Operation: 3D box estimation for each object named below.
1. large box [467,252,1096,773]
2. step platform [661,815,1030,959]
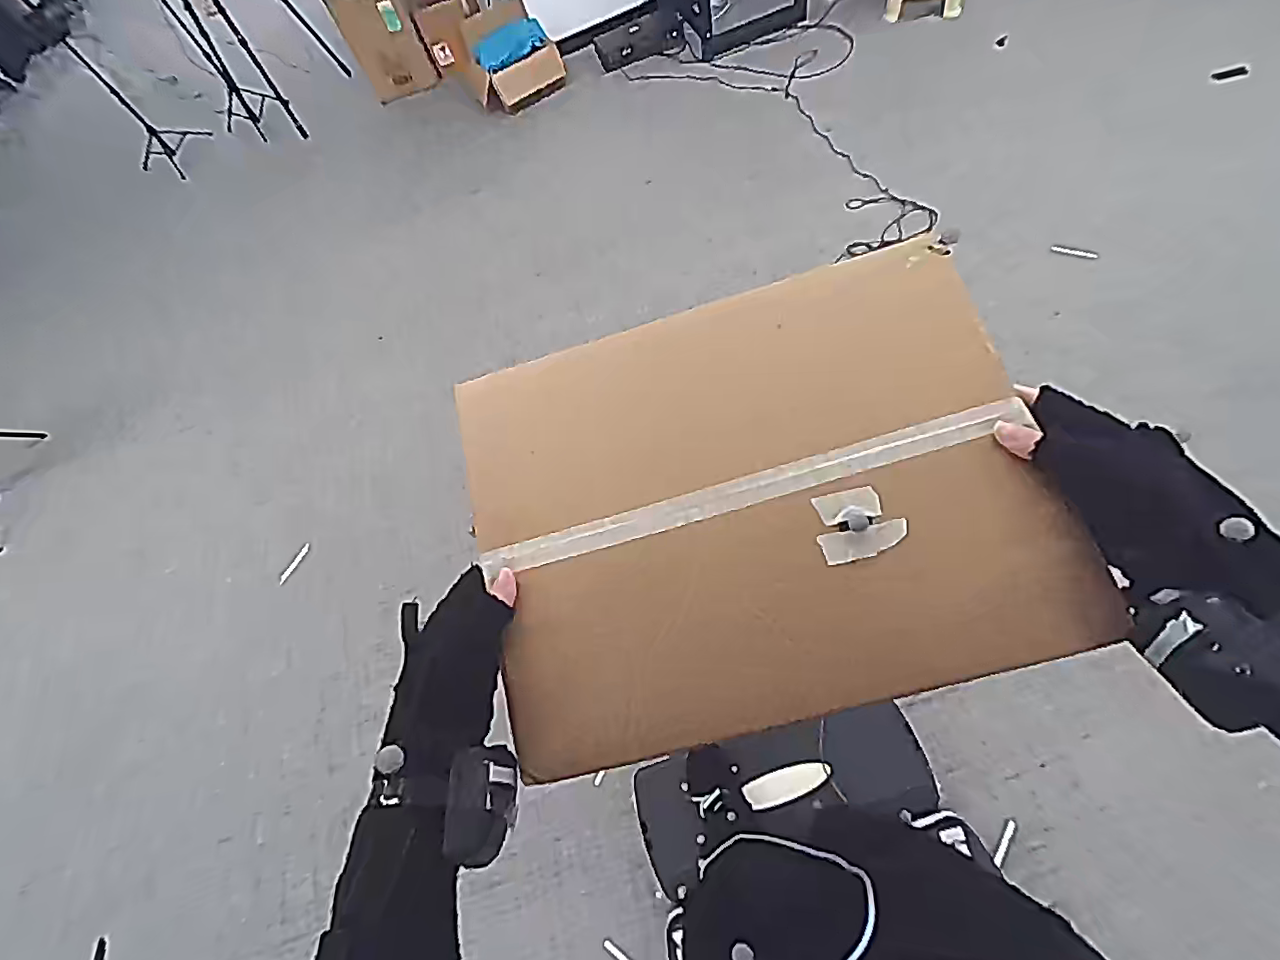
[{"bbox_3d":[0.097,0.050,0.554,0.408,0.320,0.320,-17,74,5],"label":"large box"},{"bbox_3d":[0.389,0.944,1.087,0.684,0.204,0.286,-23,59,3],"label":"step platform"}]
